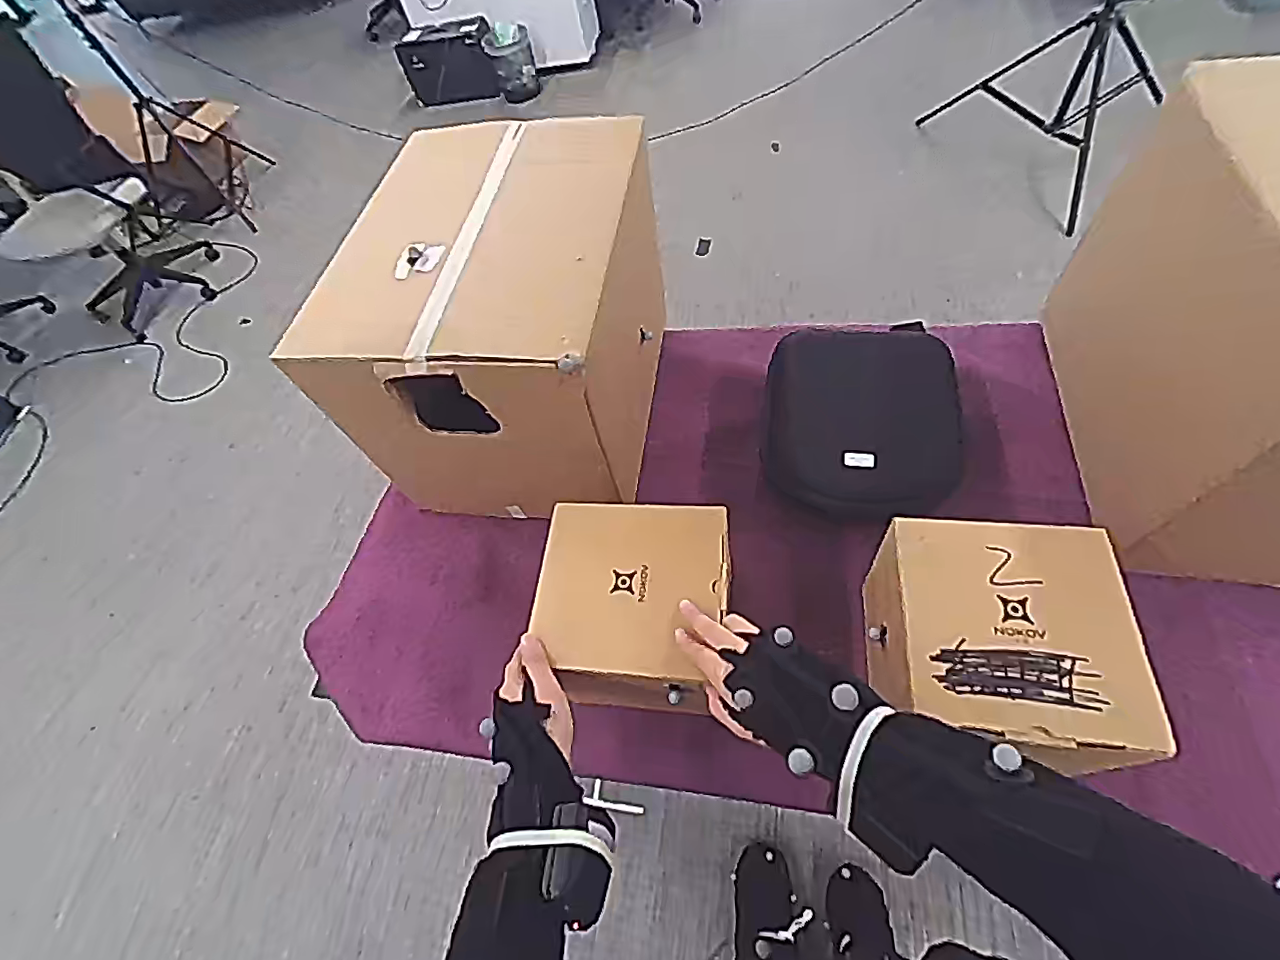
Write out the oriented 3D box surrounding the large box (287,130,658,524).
[{"bbox_3d":[-0.154,-0.191,0.720,0.320,0.320,0.408,2,61,11],"label":"large box"}]
